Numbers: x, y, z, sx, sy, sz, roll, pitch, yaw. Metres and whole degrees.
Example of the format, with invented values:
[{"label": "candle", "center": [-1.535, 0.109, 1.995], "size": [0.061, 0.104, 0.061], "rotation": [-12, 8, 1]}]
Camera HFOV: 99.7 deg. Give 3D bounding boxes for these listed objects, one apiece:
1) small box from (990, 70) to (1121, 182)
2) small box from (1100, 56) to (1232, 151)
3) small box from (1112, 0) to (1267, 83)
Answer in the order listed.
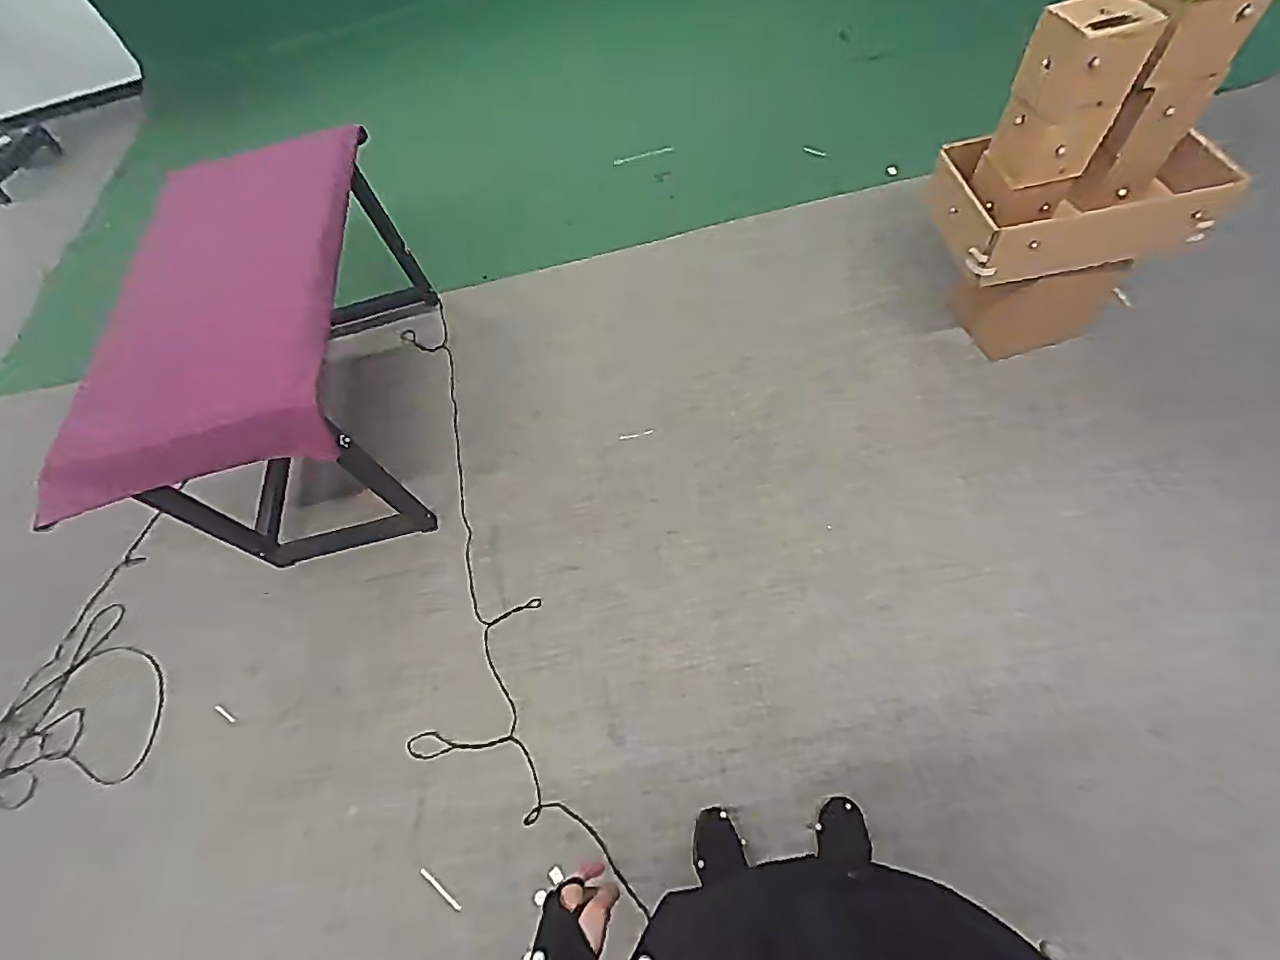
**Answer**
[{"label": "small box", "center": [1.025, -0.875, 1.354], "size": [0.168, 0.176, 0.179], "rotation": [-12, 60, 3]}, {"label": "small box", "center": [1.276, -0.963, 1.352], "size": [0.179, 0.176, 0.168], "rotation": [-17, 60, 4]}, {"label": "small box", "center": [1.229, -1.037, 1.211], "size": [0.179, 0.176, 0.168], "rotation": [-10, 59, 7]}]
